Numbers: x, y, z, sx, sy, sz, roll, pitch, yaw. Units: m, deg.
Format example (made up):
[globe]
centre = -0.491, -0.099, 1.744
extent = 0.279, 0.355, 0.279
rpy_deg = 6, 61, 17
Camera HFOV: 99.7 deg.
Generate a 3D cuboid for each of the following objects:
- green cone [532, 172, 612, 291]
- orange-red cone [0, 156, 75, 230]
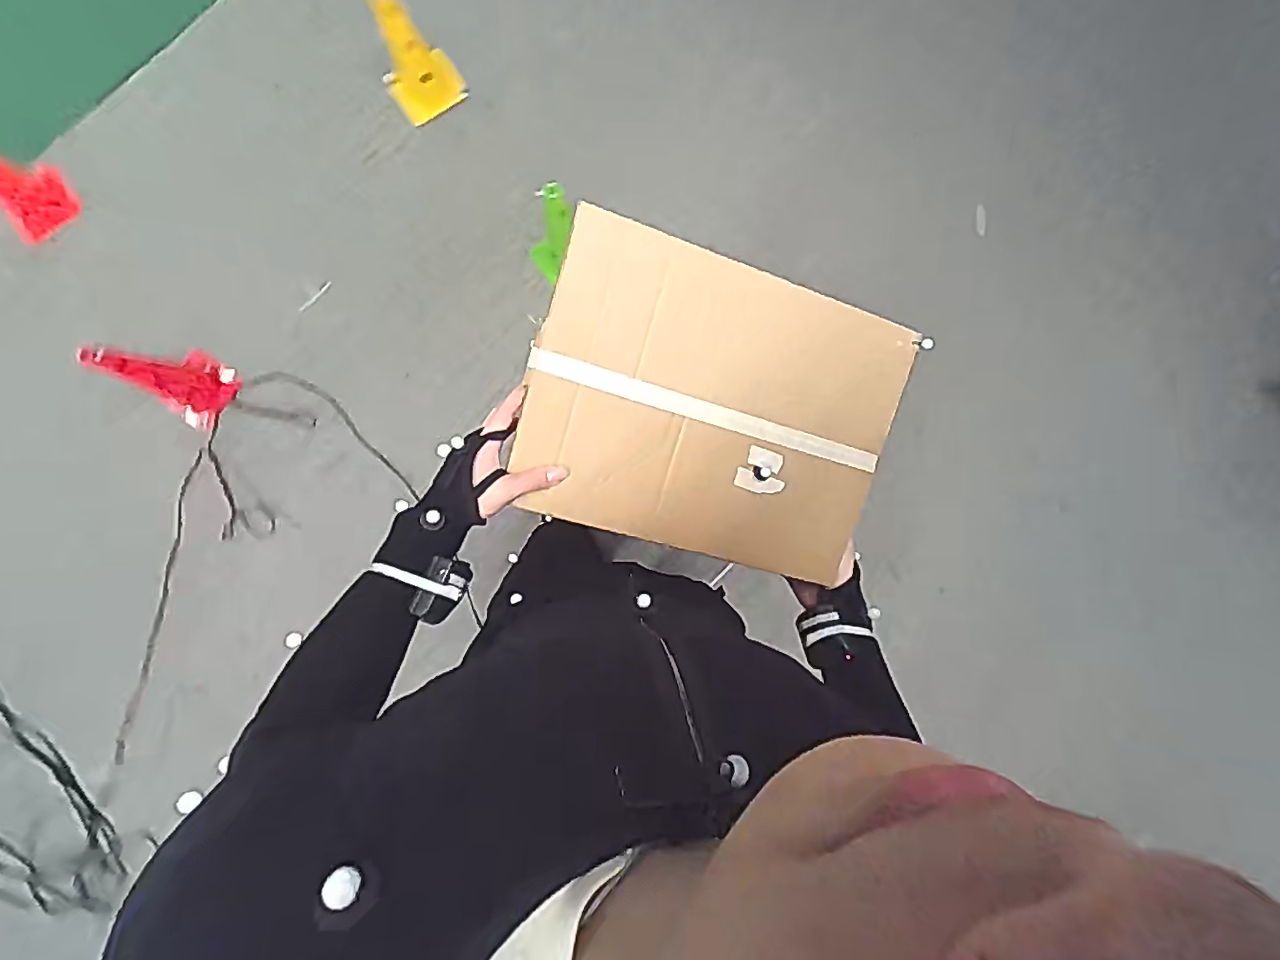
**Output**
[green cone]
centre = -0.216, -0.738, 1.537
extent = 0.200, 0.368, 0.202
rpy_deg = -37, 85, -3
[orange-red cone]
centre = -1.928, -0.930, 1.556
extent = 0.199, 0.360, 0.198
rpy_deg = -36, 85, -1
